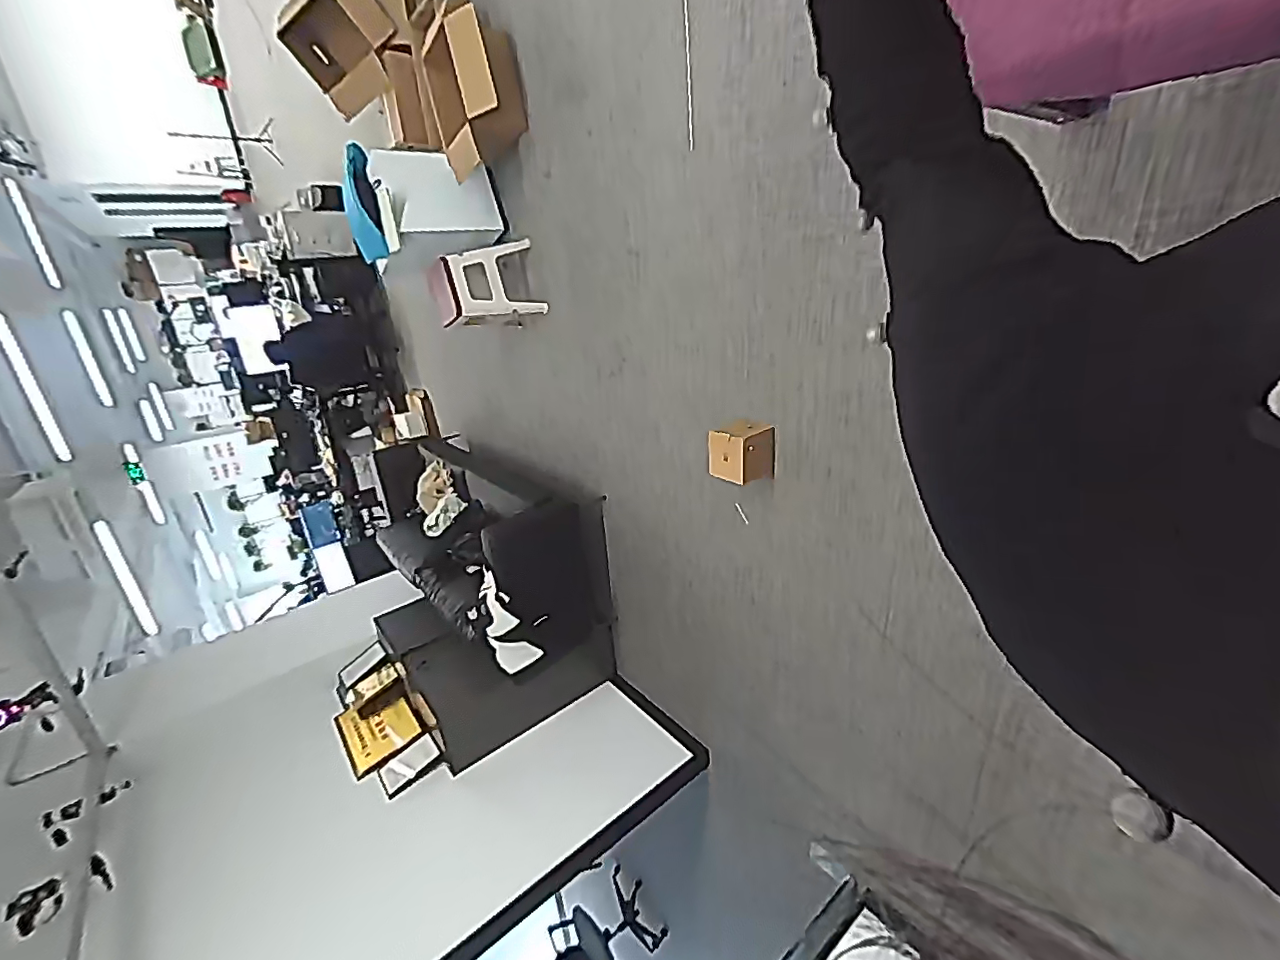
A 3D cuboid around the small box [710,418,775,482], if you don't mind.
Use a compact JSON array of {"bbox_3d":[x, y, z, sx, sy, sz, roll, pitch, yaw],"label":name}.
[{"bbox_3d":[0.373,-0.113,1.961,0.168,0.176,0.179,22,123,48],"label":"small box"}]
